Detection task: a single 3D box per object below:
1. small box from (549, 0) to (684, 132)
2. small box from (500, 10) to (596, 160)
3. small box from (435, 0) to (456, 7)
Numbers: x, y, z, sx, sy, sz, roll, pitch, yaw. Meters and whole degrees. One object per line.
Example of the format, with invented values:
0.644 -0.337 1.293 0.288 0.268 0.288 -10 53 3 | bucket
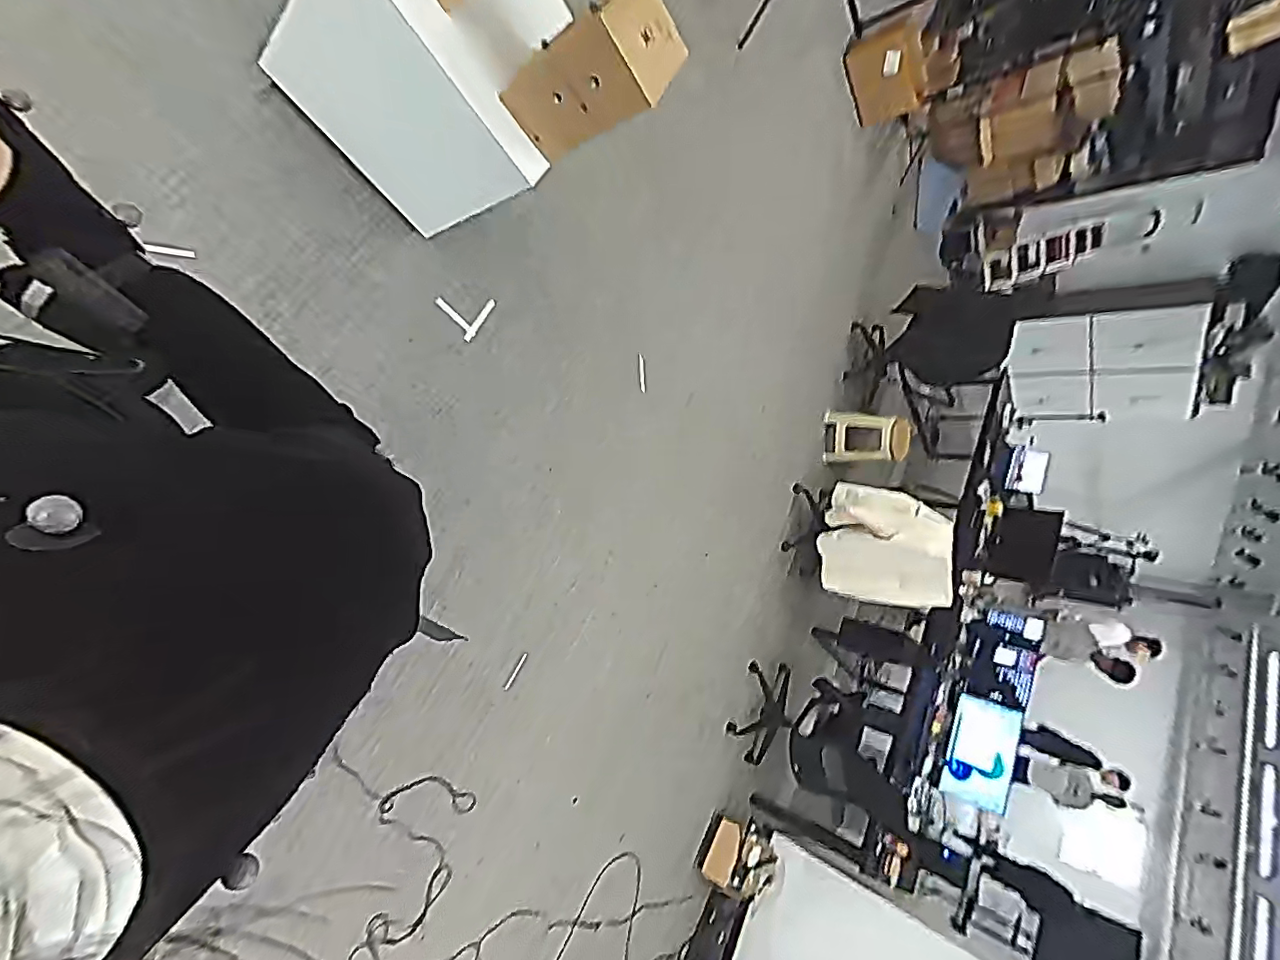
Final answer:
-0.050 -0.822 1.047 0.168 0.176 0.179 43 65 -40 | small box
-0.168 -0.837 1.162 0.168 0.176 0.179 42 66 -39 | small box
-0.333 -1.015 0.971 0.168 0.176 0.179 46 63 -40 | small box
